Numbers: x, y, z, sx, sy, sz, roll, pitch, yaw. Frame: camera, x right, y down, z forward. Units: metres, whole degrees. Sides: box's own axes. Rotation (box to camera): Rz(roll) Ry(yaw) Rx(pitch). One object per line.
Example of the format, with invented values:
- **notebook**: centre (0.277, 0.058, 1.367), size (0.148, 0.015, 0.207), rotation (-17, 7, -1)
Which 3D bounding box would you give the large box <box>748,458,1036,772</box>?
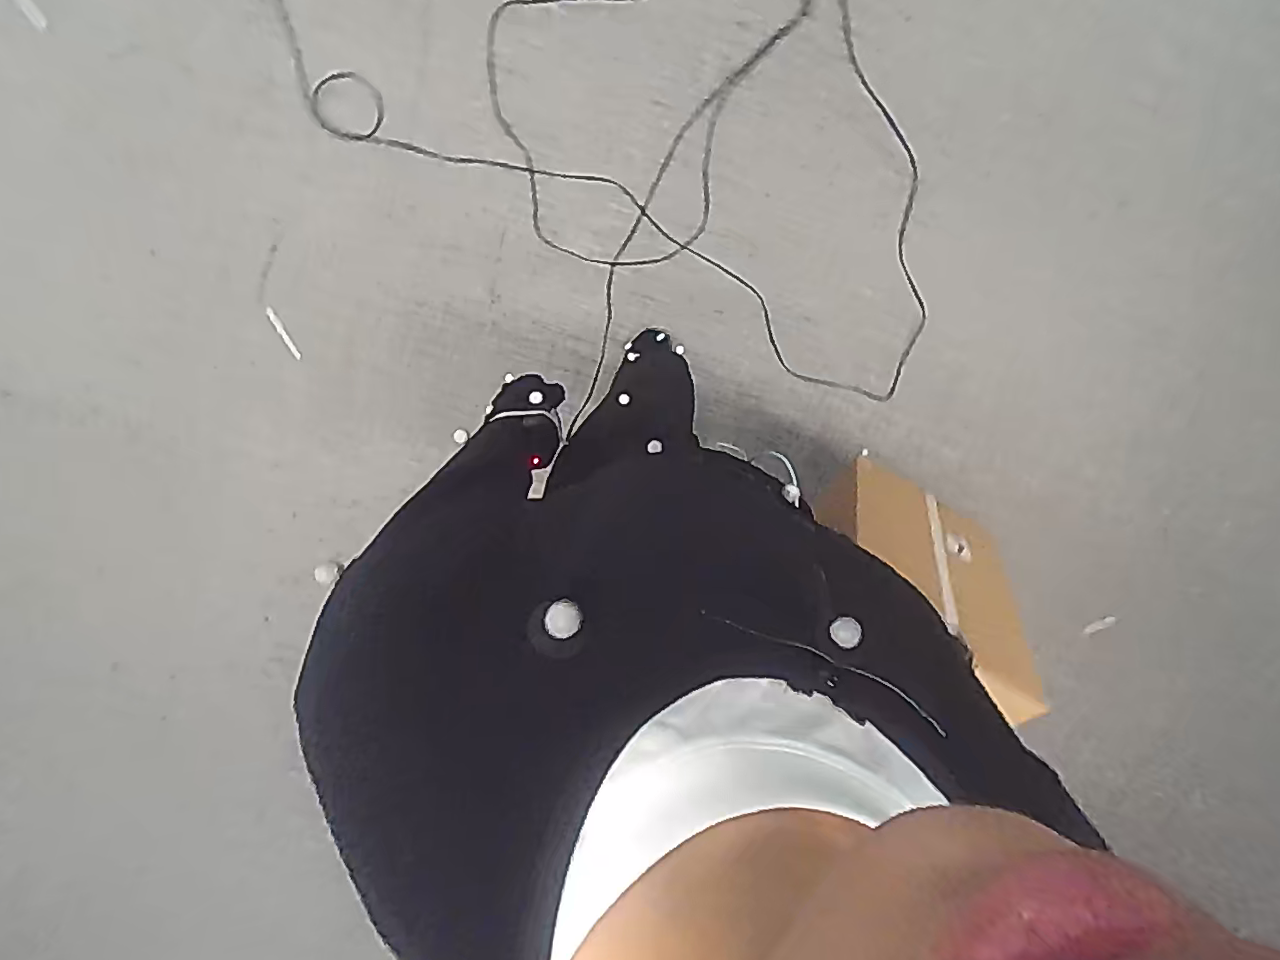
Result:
- **large box**: centre (0.431, 0.238, 1.009), size (0.320, 0.408, 0.320), rotation (31, 127, 0)
